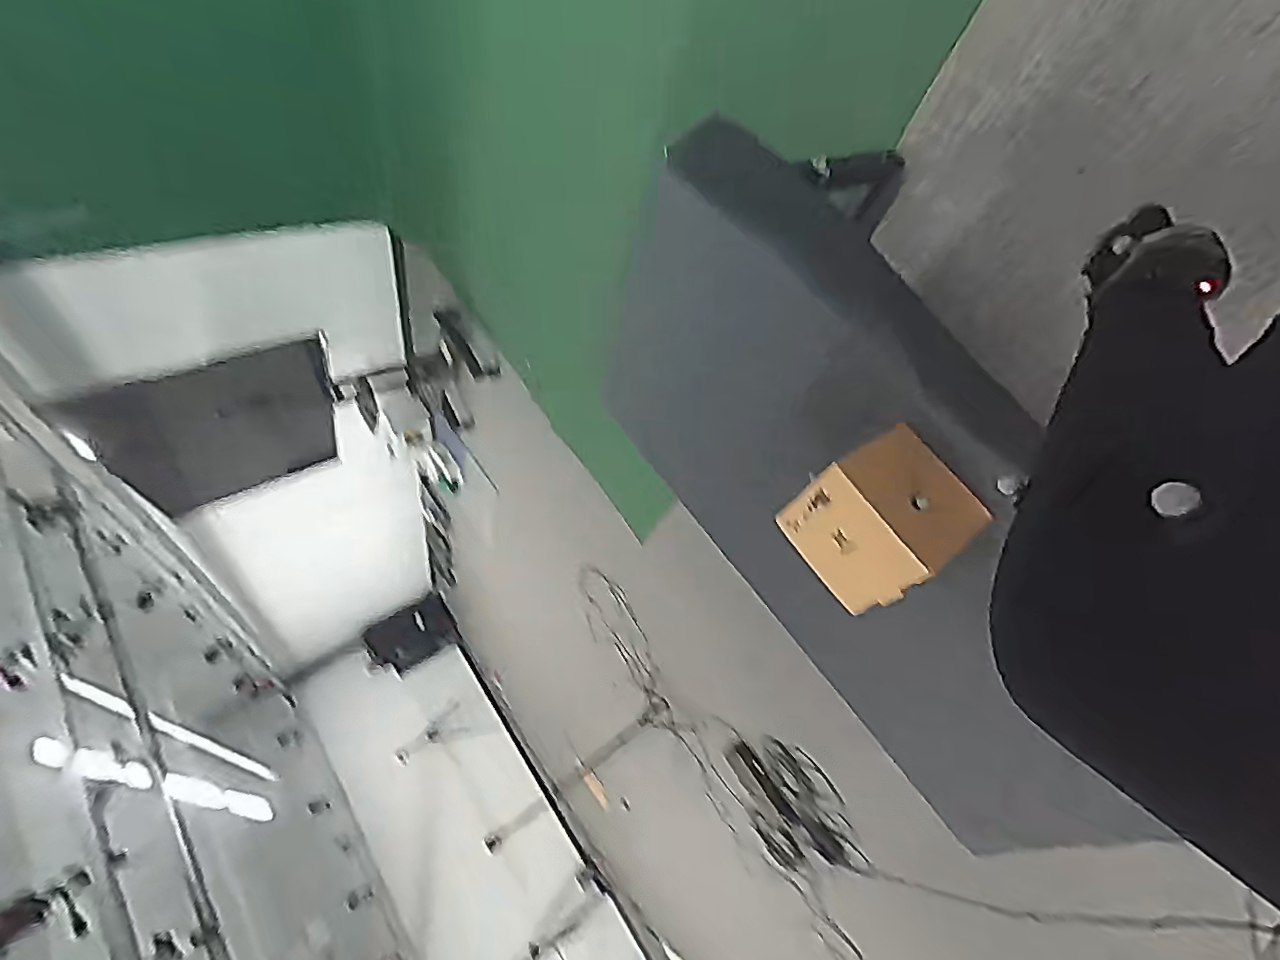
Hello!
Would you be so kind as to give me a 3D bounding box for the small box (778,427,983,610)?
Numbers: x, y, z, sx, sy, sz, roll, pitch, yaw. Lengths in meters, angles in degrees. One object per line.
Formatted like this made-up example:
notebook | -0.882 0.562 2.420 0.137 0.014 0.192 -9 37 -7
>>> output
small box | 0.344 0.052 0.783 0.179 0.176 0.168 53 149 17
